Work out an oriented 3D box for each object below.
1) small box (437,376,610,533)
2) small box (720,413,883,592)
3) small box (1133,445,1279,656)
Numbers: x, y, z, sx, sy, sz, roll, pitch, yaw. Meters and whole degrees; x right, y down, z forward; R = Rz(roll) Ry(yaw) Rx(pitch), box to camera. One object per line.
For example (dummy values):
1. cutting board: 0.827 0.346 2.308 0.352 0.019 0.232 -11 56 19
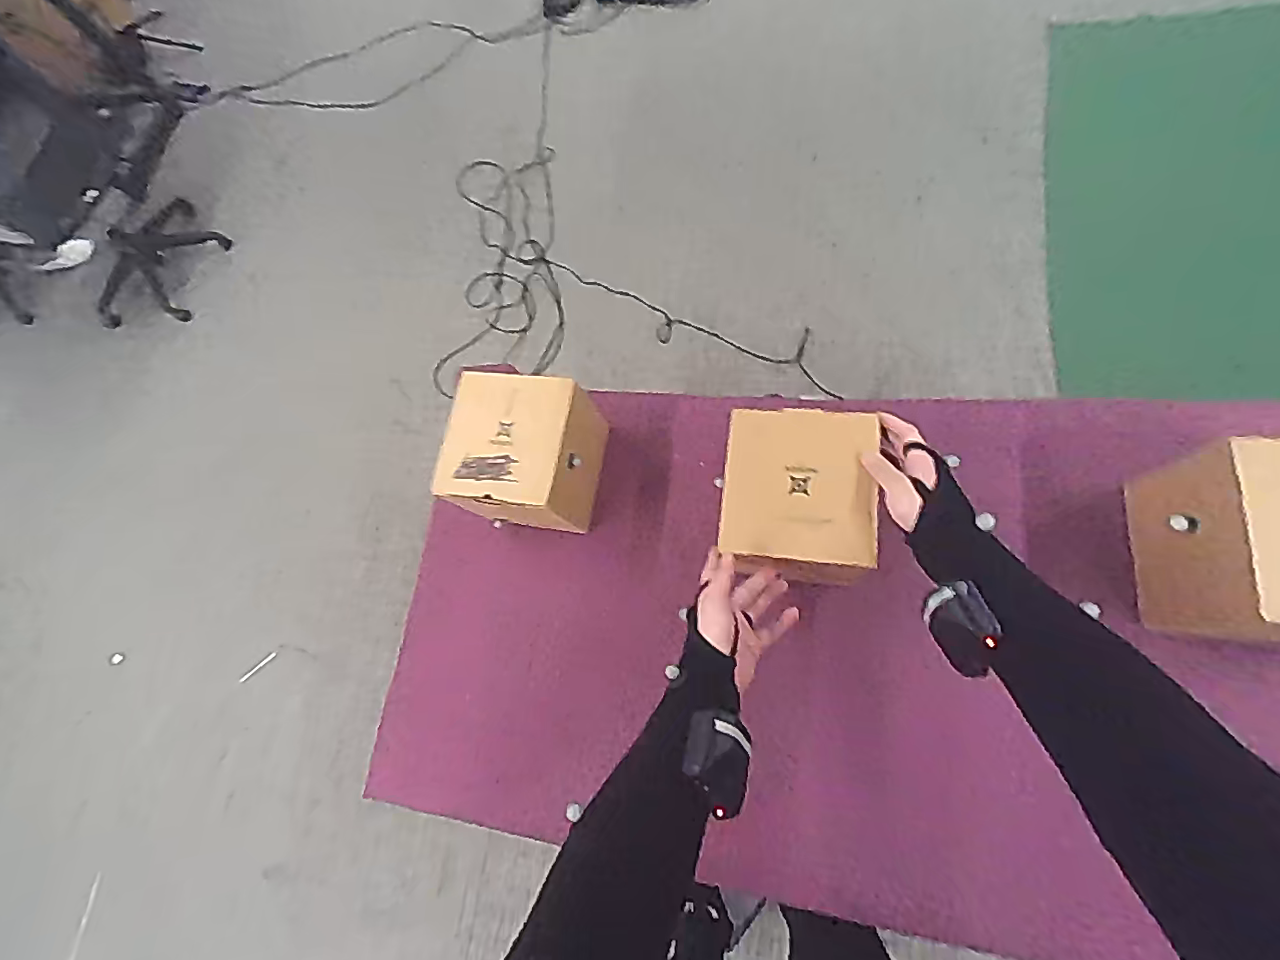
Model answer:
1. small box: -0.153 -0.029 0.773 0.168 0.176 0.179 7 74 15
2. small box: 0.197 0.033 0.674 0.168 0.176 0.179 5 73 16
3. small box: 0.650 0.079 0.548 0.168 0.176 0.179 3 72 15
